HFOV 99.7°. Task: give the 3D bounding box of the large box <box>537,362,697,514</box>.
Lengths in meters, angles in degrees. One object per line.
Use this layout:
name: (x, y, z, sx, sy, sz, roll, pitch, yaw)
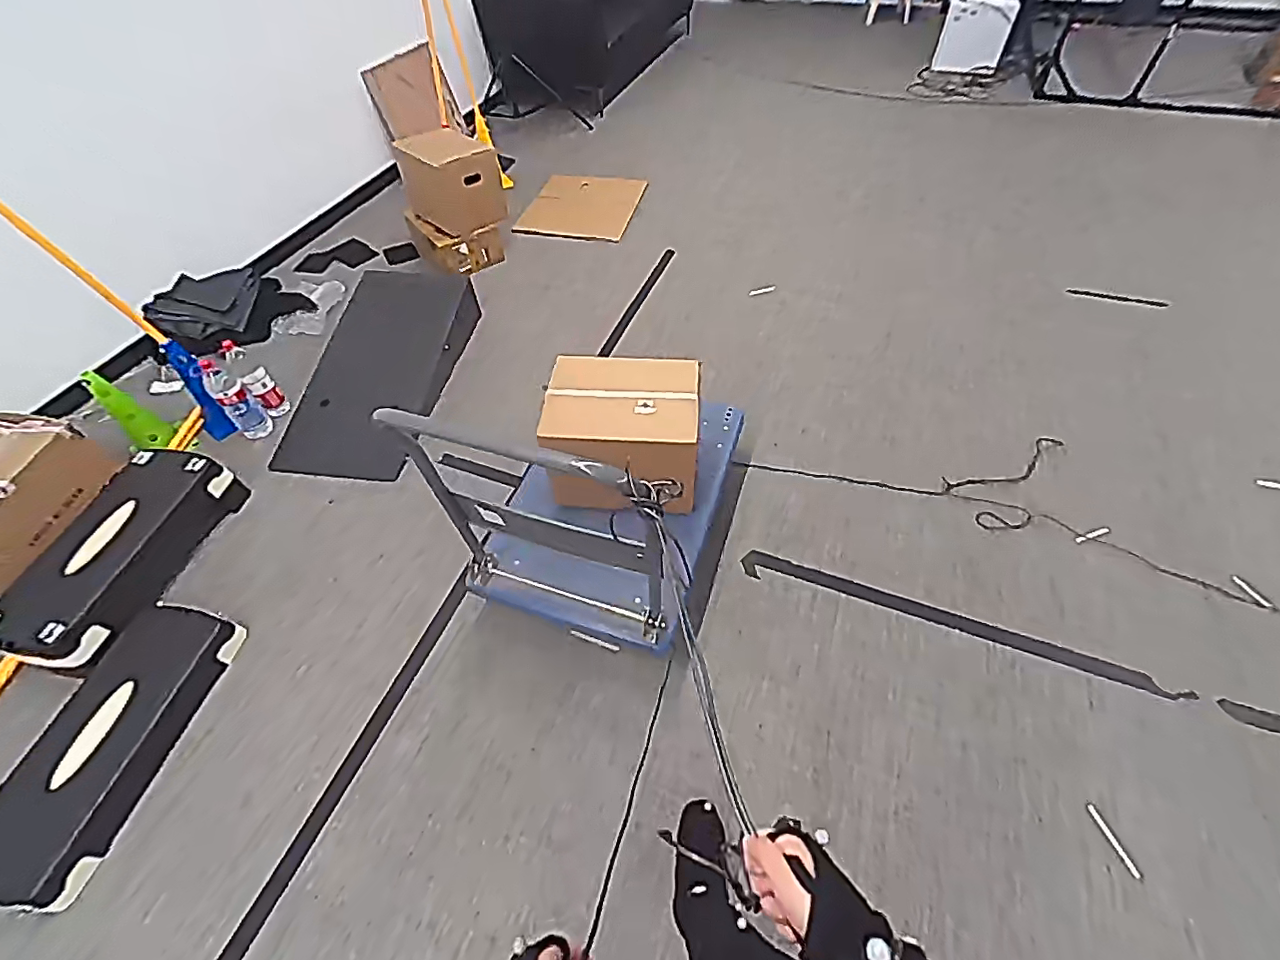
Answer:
large box: (-0.050, -0.117, 1.539, 0.408, 0.320, 0.320, 3, 53, 4)
